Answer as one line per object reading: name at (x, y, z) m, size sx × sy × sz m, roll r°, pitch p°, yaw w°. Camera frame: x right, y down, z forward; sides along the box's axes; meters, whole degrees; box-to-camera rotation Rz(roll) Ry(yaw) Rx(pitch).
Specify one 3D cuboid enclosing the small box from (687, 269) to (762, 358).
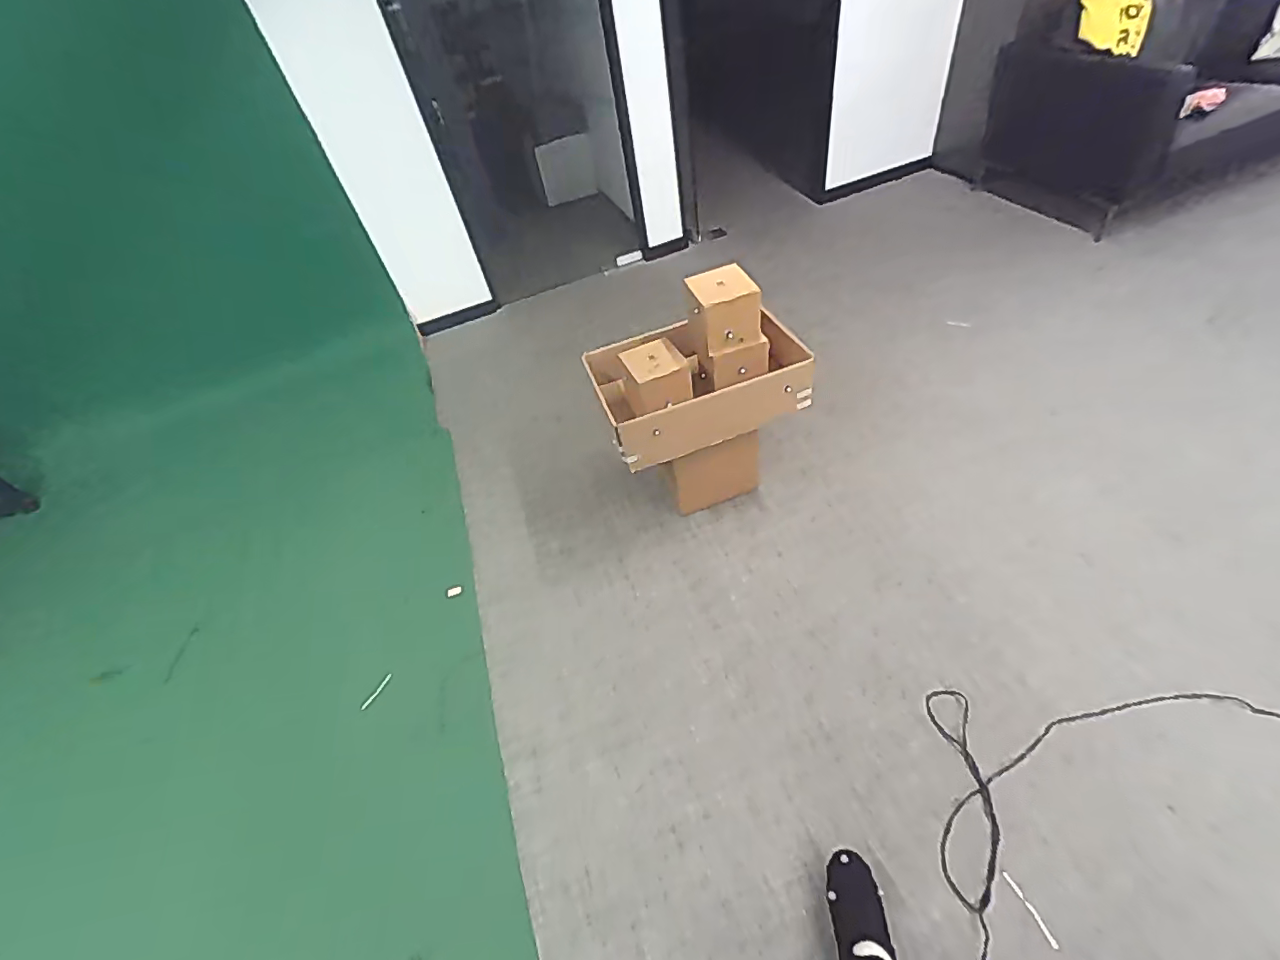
small box at (0.245, -0.484, 1.581) m, size 0.168 × 0.176 × 0.179 m, roll -18°, pitch 46°, yaw -4°

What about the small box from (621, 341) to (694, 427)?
small box at (0.055, -0.294, 1.667) m, size 0.168 × 0.176 × 0.179 m, roll -22°, pitch 47°, yaw -9°
